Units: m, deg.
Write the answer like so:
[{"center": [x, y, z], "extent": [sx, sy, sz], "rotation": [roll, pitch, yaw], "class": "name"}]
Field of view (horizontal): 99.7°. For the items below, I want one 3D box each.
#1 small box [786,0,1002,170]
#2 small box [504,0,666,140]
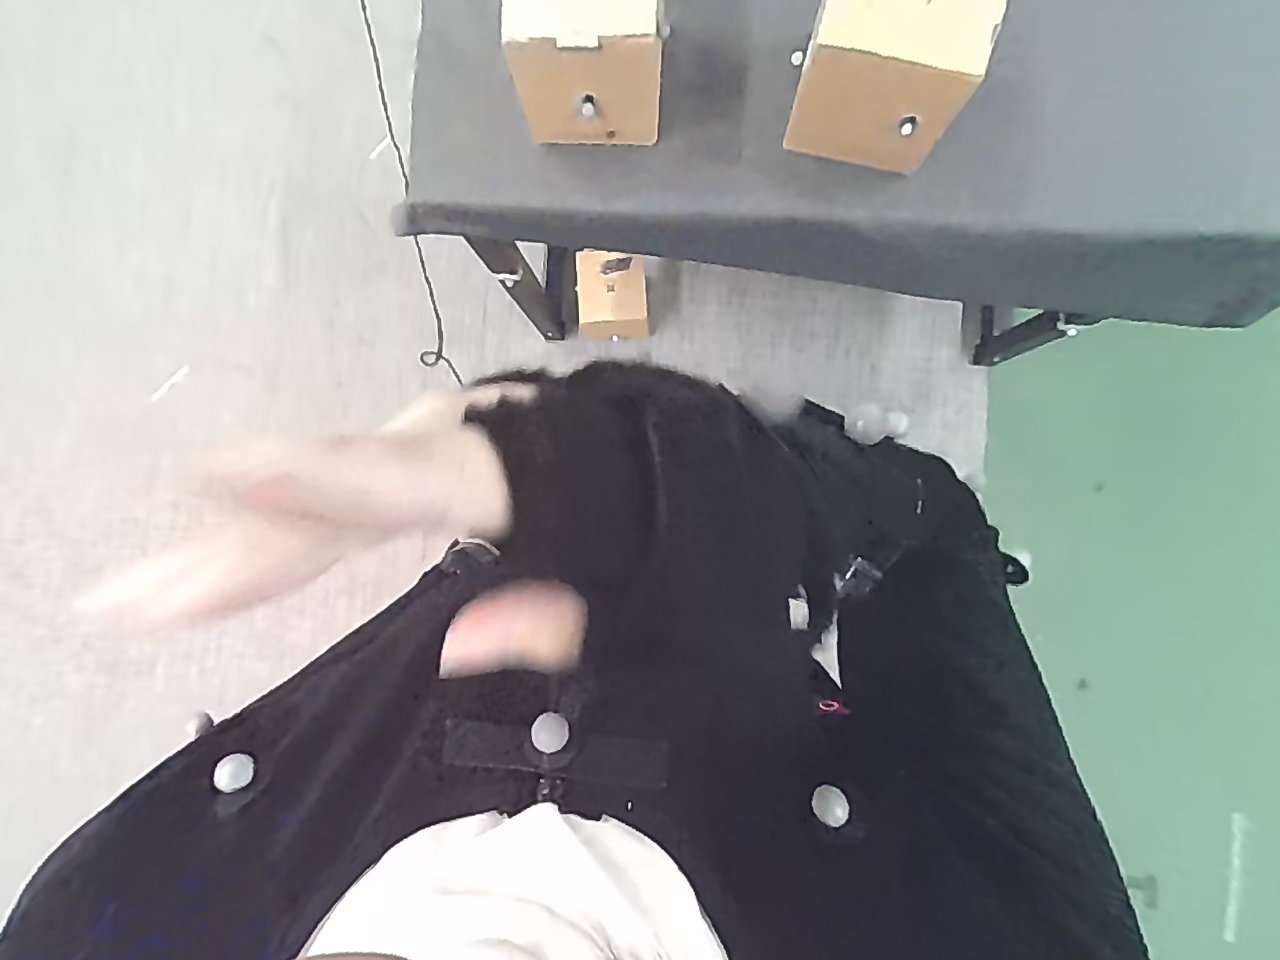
[{"center": [0.289, -0.501, 0.636], "extent": [0.179, 0.176, 0.168], "rotation": [14, 87, 4], "class": "small box"}, {"center": [-0.055, -0.543, 0.650], "extent": [0.168, 0.176, 0.179], "rotation": [2, 88, 2], "class": "small box"}]
